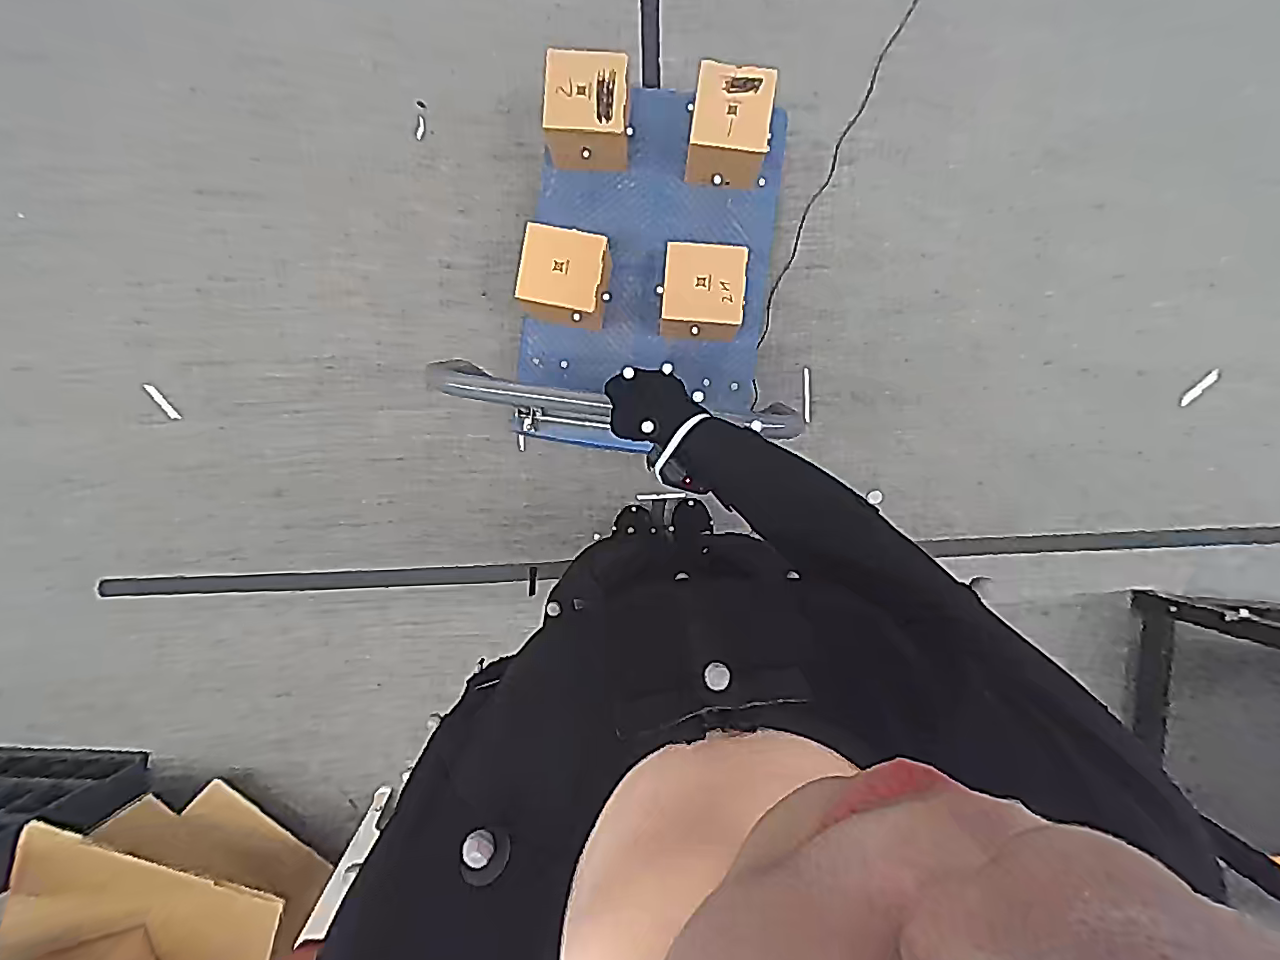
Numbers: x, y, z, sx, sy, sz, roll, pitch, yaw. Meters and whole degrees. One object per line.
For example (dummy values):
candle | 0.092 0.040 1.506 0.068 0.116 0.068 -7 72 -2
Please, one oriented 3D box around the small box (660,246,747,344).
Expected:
small box | 0.138 -0.414 1.234 0.179 0.176 0.168 4 91 0

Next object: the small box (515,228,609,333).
small box | -0.172 -0.448 1.239 0.179 0.176 0.168 10 91 -1

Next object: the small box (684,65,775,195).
small box | 0.194 -0.784 1.225 0.168 0.176 0.179 8 92 1
